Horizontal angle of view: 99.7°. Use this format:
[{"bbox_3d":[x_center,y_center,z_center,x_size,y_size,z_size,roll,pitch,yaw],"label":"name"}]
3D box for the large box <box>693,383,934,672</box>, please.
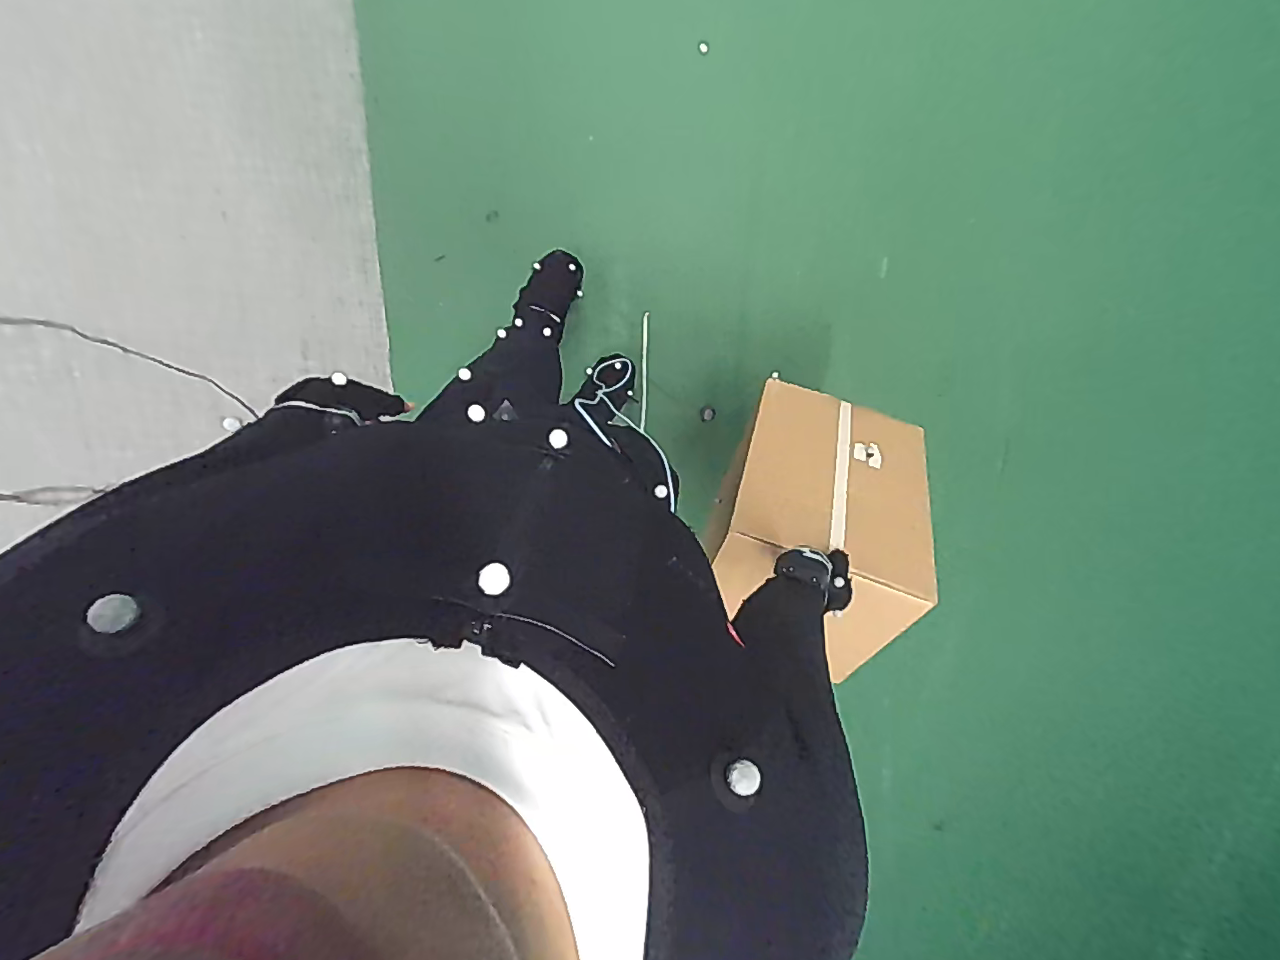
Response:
[{"bbox_3d":[0.316,0.086,1.039,0.320,0.408,0.320,19,137,4],"label":"large box"}]
